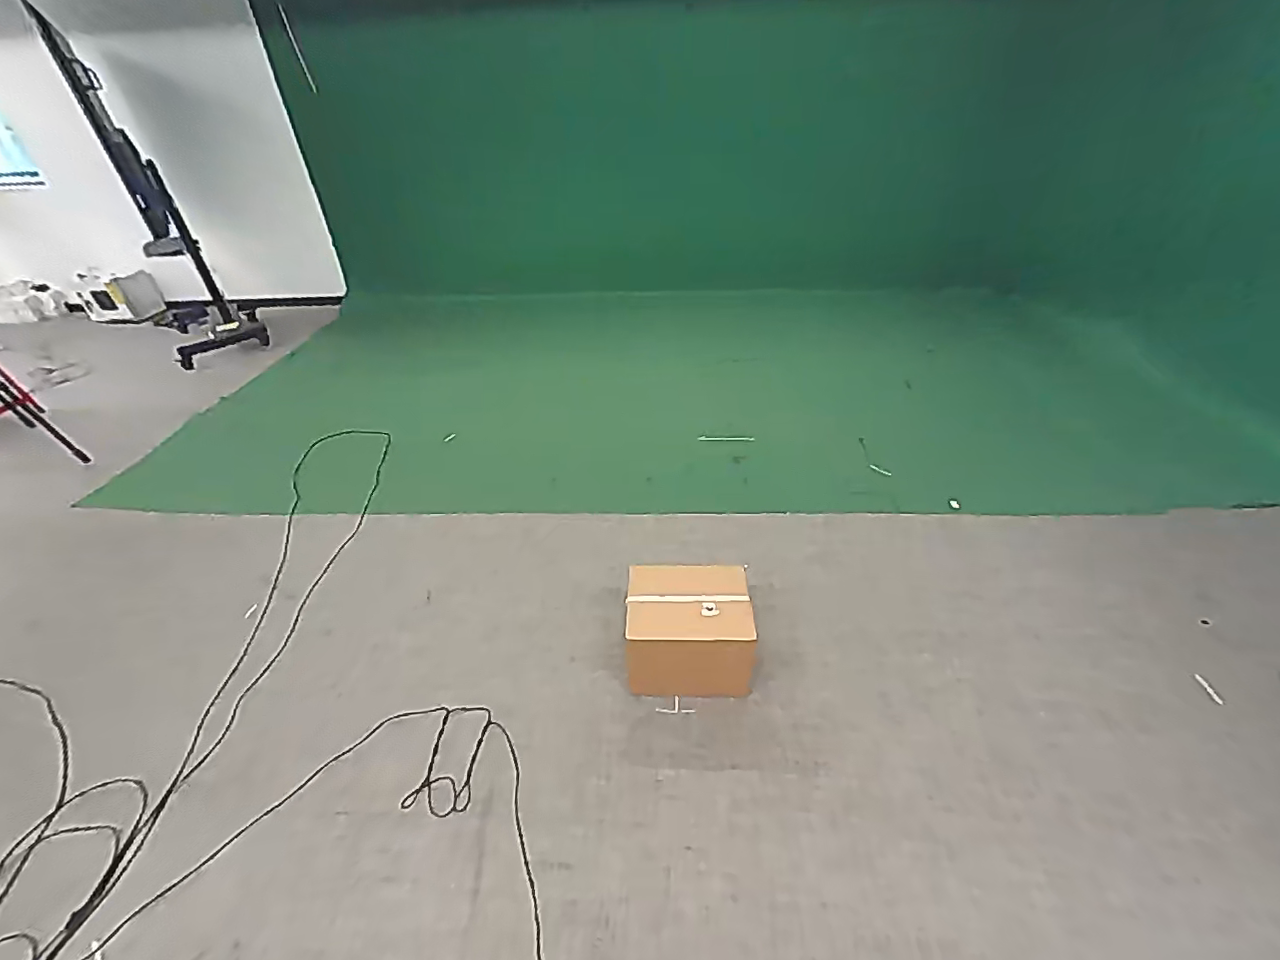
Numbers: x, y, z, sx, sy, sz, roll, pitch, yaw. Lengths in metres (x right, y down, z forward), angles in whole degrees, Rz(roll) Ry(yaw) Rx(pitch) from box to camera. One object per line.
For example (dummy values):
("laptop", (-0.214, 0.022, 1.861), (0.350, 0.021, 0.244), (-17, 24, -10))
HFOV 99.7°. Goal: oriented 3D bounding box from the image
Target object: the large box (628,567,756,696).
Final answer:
("large box", (0.164, 0.522, 1.870), (0.408, 0.320, 0.320), (-1, 37, 2))
